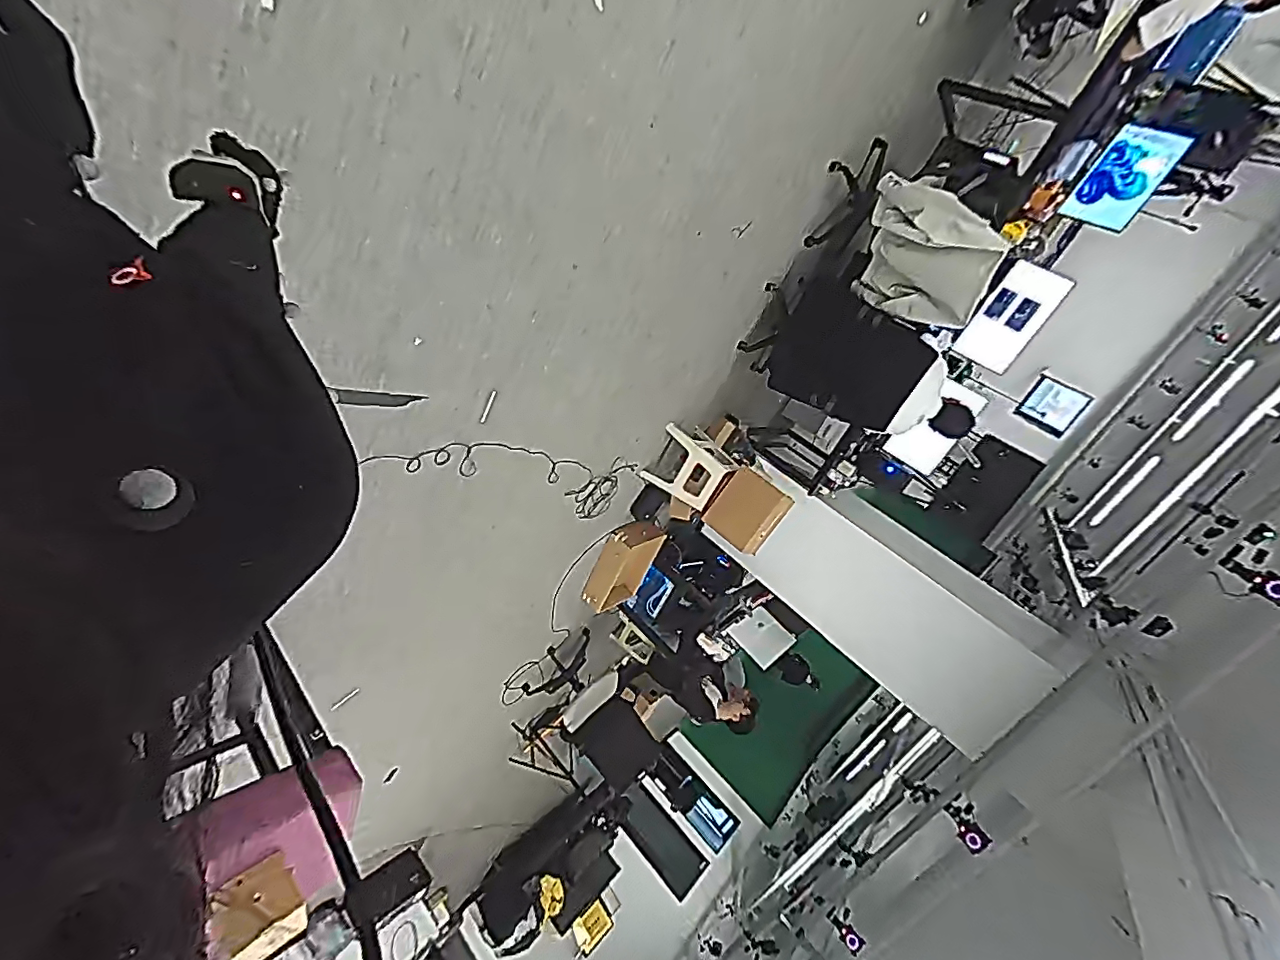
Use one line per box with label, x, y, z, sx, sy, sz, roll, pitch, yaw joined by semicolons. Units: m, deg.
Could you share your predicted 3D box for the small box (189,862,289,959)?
small box;-1.037;1.143;1.401;0.168;0.176;0.179;-19;140;-47
